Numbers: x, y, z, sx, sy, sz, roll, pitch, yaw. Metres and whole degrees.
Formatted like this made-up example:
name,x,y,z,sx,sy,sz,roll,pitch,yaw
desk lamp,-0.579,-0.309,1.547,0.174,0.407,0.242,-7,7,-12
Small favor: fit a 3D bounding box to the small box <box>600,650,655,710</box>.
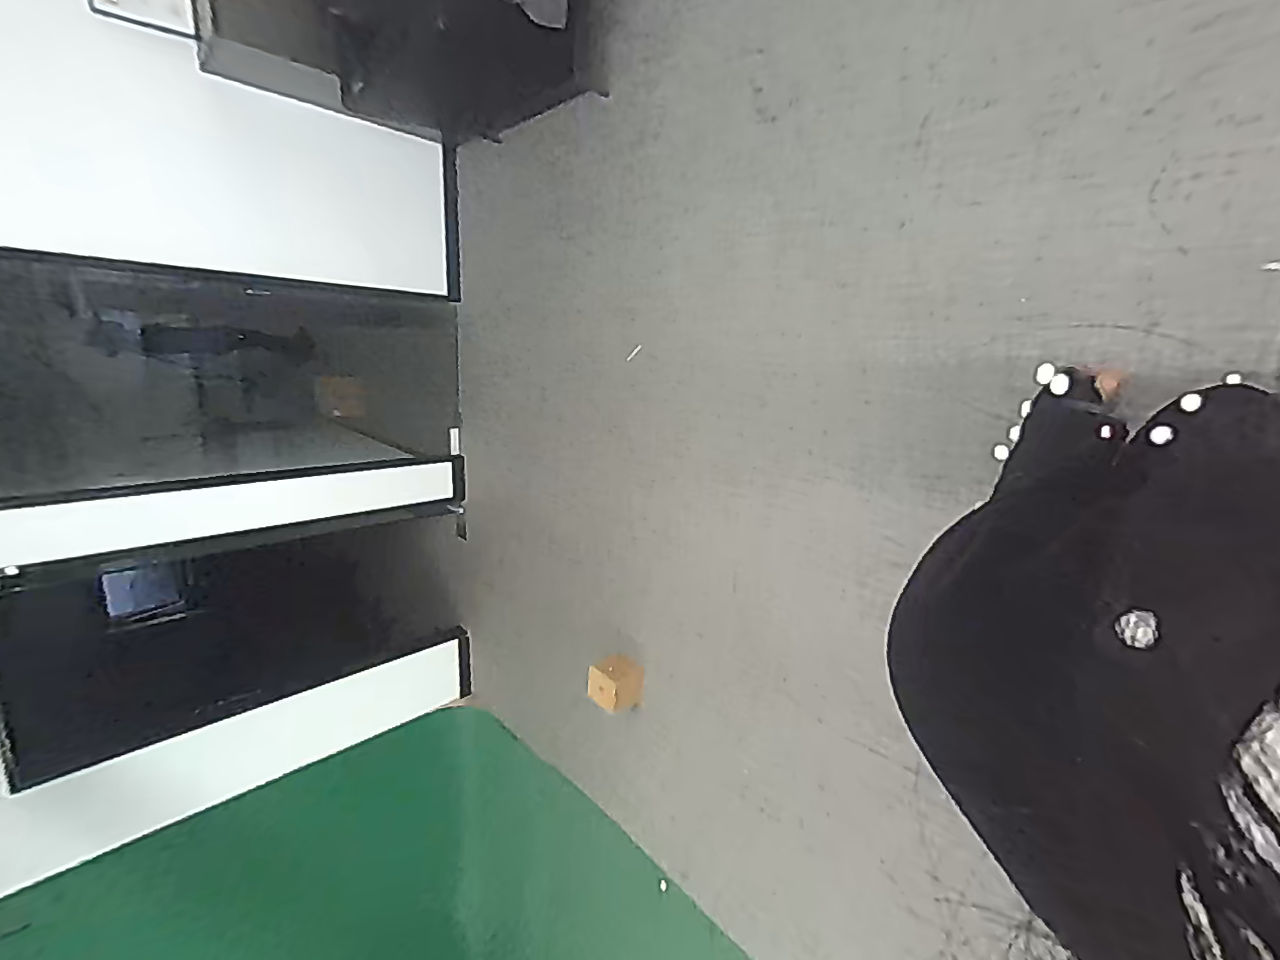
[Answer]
name,x,y,z,sx,sy,sz,roll,pitch,yaw
small box,-0.058,0.886,2.421,0.179,0.176,0.168,20,113,42
